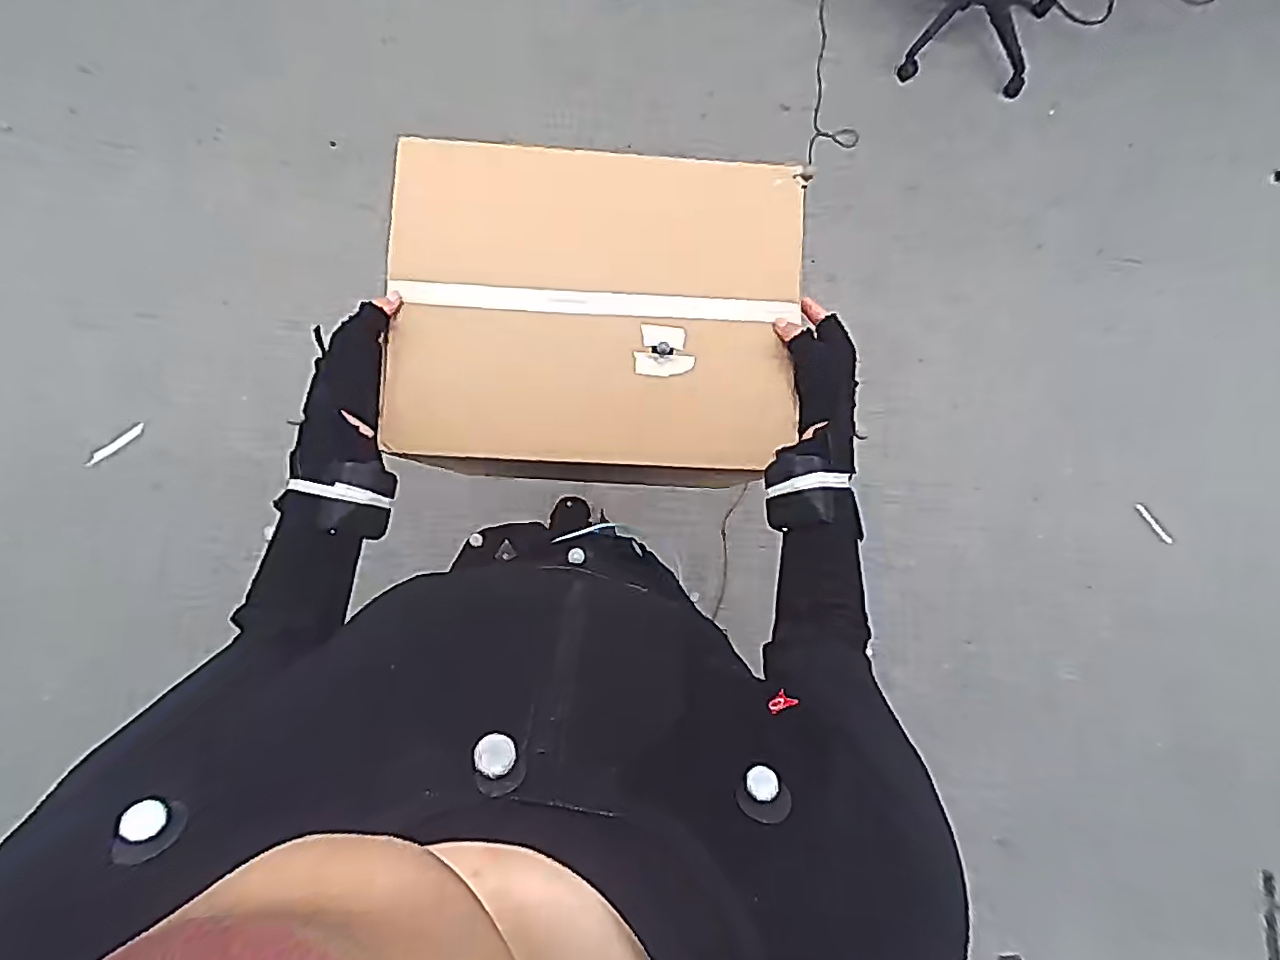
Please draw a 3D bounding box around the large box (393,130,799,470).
[{"bbox_3d":[-0.049,-0.183,0.692,0.408,0.320,0.320,3,88,-3],"label":"large box"}]
